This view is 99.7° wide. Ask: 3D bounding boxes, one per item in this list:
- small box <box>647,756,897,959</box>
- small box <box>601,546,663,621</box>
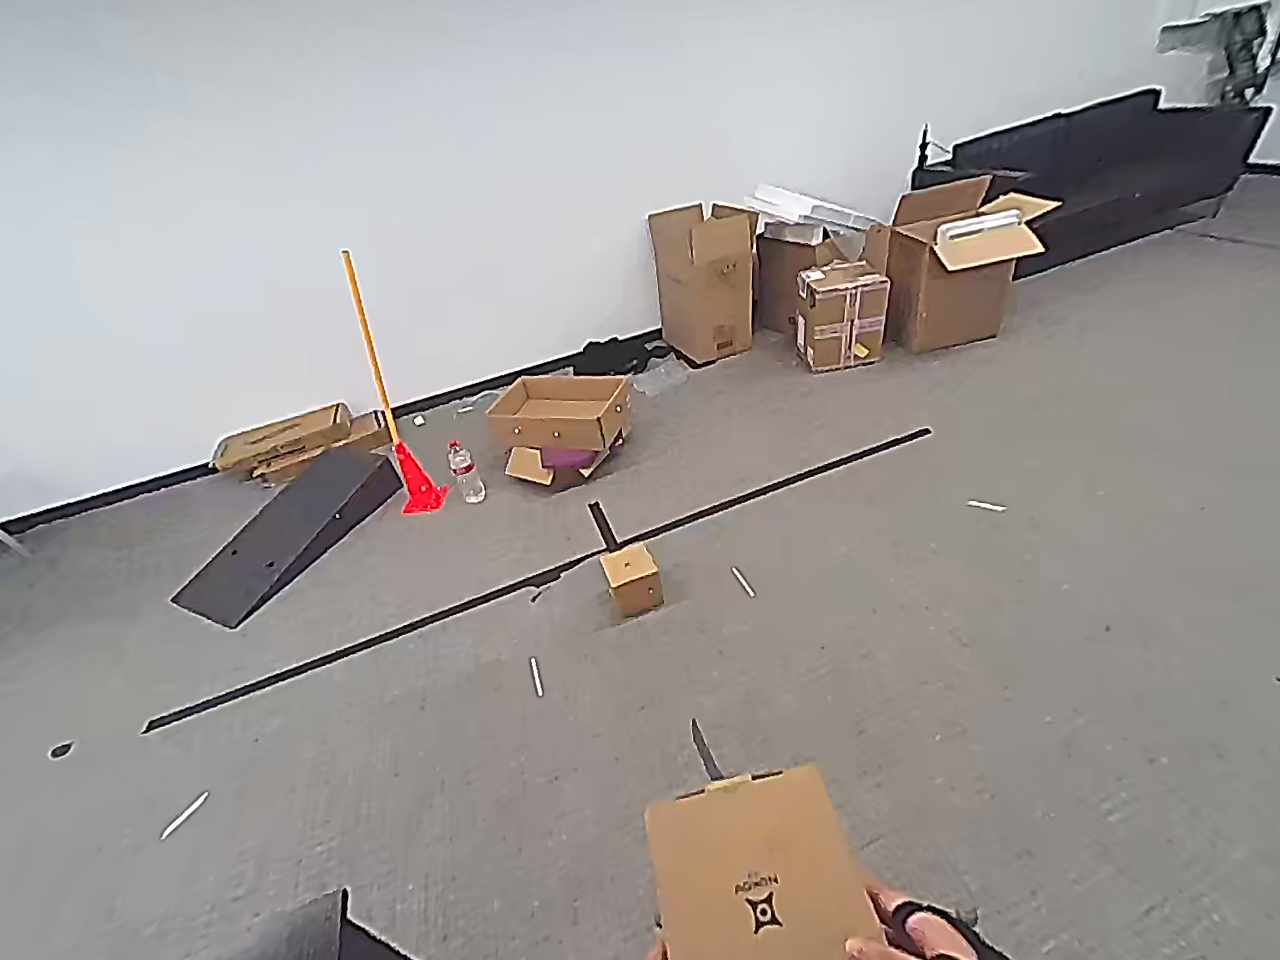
[{"bbox_3d":[0.110,0.389,0.488,0.168,0.176,0.179,-15,40,-2],"label":"small box"},{"bbox_3d":[-0.024,0.379,1.978,0.179,0.176,0.168,-20,36,-11],"label":"small box"}]
